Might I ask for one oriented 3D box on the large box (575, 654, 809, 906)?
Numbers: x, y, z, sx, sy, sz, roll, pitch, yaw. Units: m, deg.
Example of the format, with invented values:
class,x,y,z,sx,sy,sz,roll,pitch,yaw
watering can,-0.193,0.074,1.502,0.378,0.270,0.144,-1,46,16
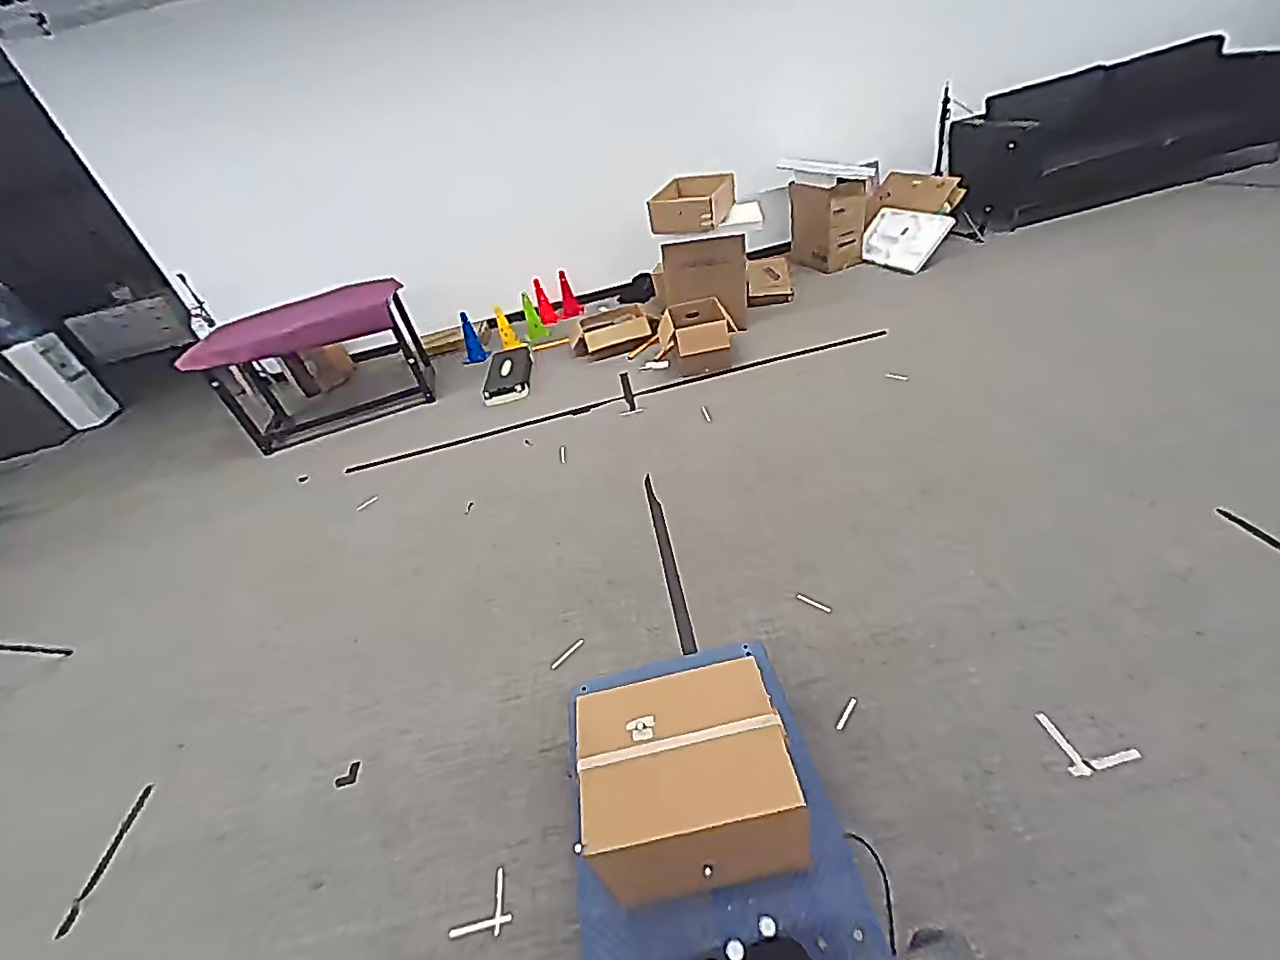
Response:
class,x,y,z,sx,sy,sz,roll,pitch,yaw
large box,0.104,0.629,1.143,0.408,0.320,0.320,-15,35,1
